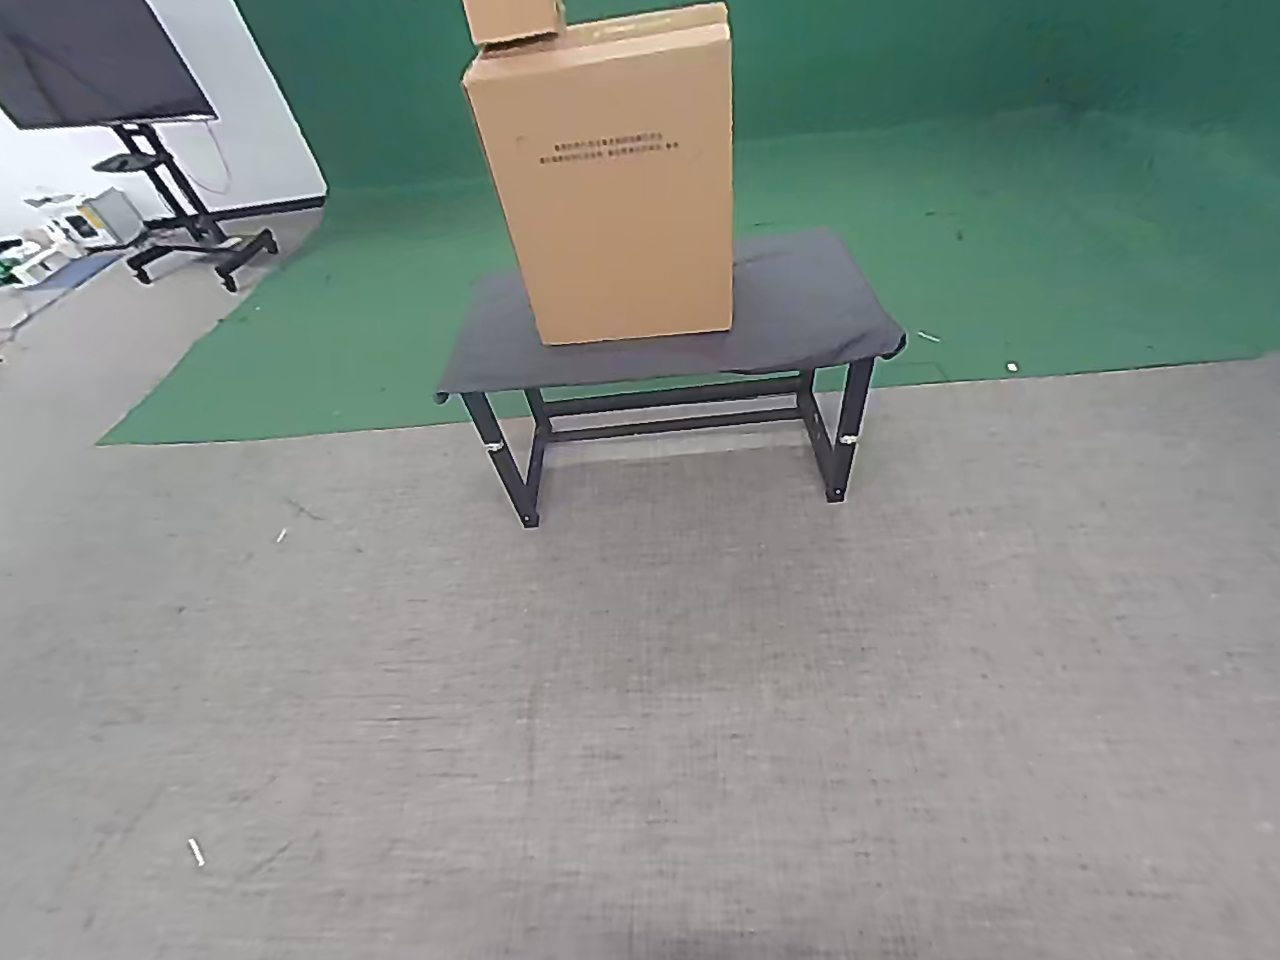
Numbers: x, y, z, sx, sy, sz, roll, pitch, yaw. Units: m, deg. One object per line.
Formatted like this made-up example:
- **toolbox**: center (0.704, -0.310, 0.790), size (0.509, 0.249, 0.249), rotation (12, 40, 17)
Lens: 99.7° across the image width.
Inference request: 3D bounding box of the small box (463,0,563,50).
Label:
- **small box**: center (-0.269, -1.013, 1.127), size (0.179, 0.176, 0.168), rotation (-3, 41, 4)
